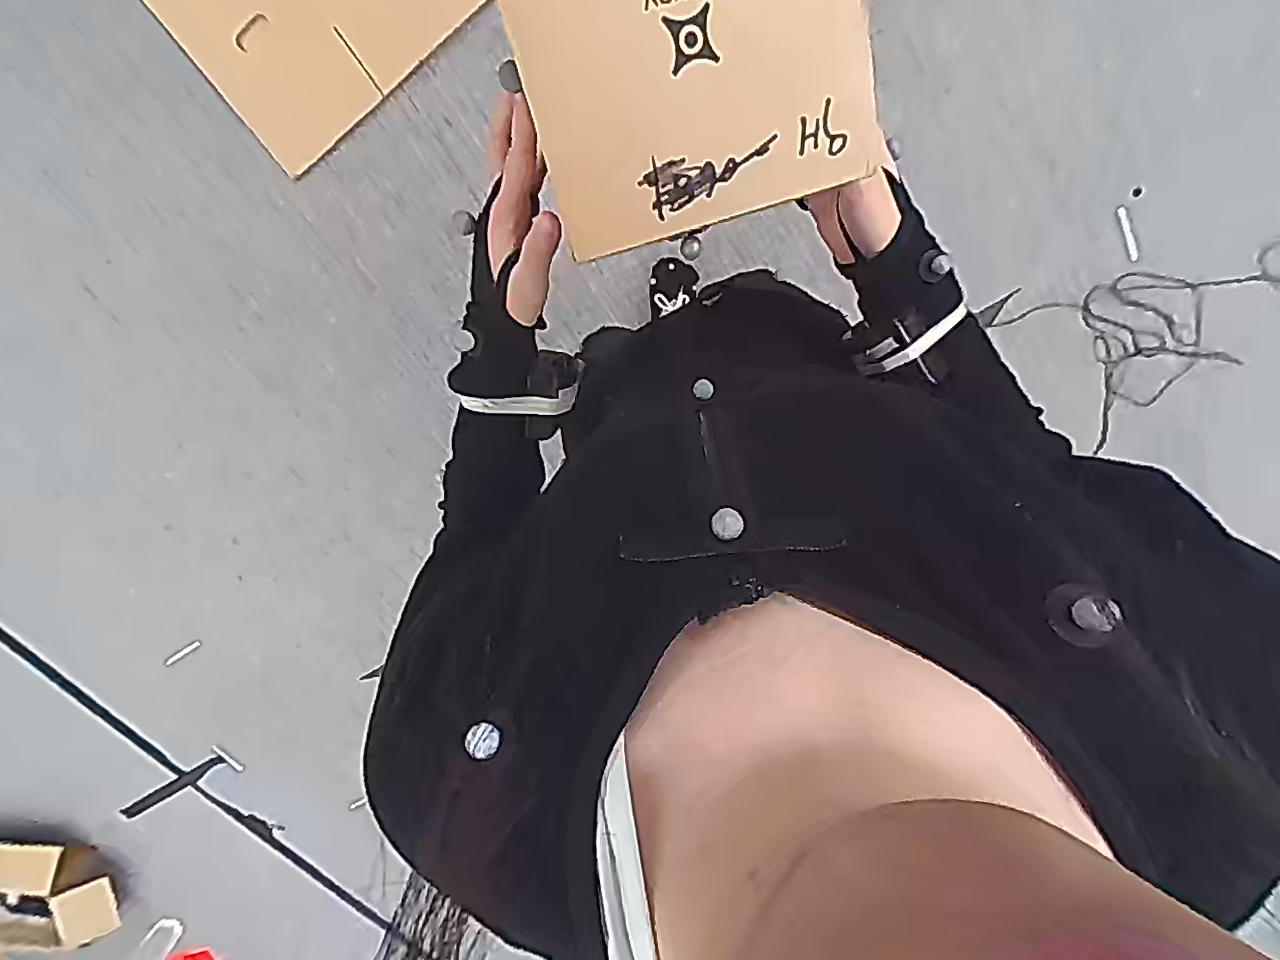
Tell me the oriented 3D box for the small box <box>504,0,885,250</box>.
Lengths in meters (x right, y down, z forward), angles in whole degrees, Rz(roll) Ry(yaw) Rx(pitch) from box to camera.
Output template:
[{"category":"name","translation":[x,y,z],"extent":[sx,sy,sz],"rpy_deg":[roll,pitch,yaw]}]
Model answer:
[{"category":"small box","translation":[0.016,-0.247,0.316],"extent":[0.168,0.176,0.179],"rpy_deg":[-17,113,2]}]
